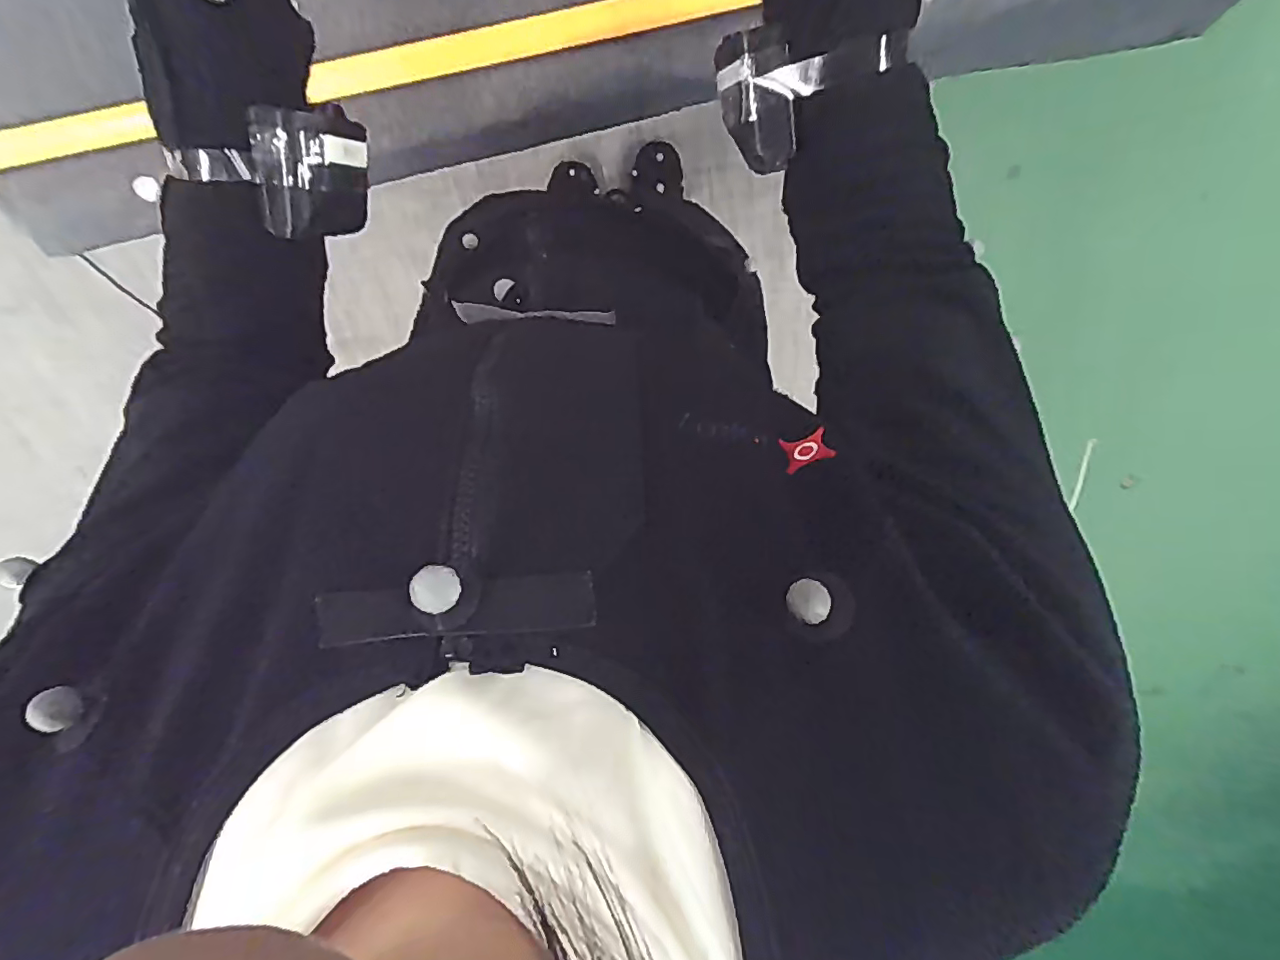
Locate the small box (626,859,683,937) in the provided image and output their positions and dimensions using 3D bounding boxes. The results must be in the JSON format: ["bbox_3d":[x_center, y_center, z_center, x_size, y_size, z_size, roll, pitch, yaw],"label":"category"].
[{"bbox_3d":[0.050,1.509,1.955,0.168,0.176,0.179,-15,122,4],"label":"small box"}]
